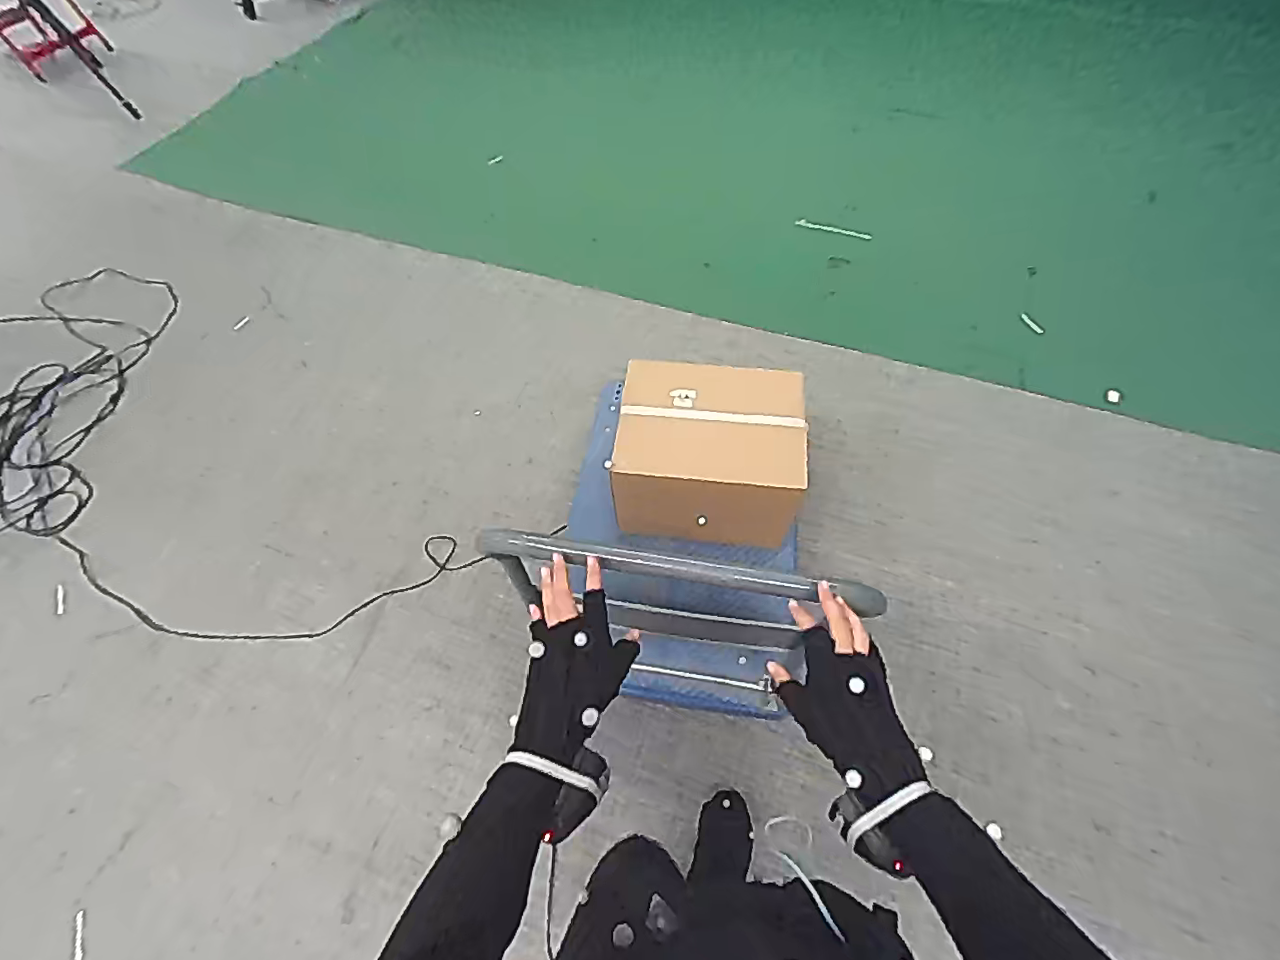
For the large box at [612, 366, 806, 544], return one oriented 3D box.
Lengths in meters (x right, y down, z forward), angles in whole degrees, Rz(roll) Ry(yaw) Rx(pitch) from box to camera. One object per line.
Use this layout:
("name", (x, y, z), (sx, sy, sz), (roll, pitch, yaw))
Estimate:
("large box", (0.162, -0.052, 1.311), (0.408, 0.320, 0.320), (4, 59, 6))
